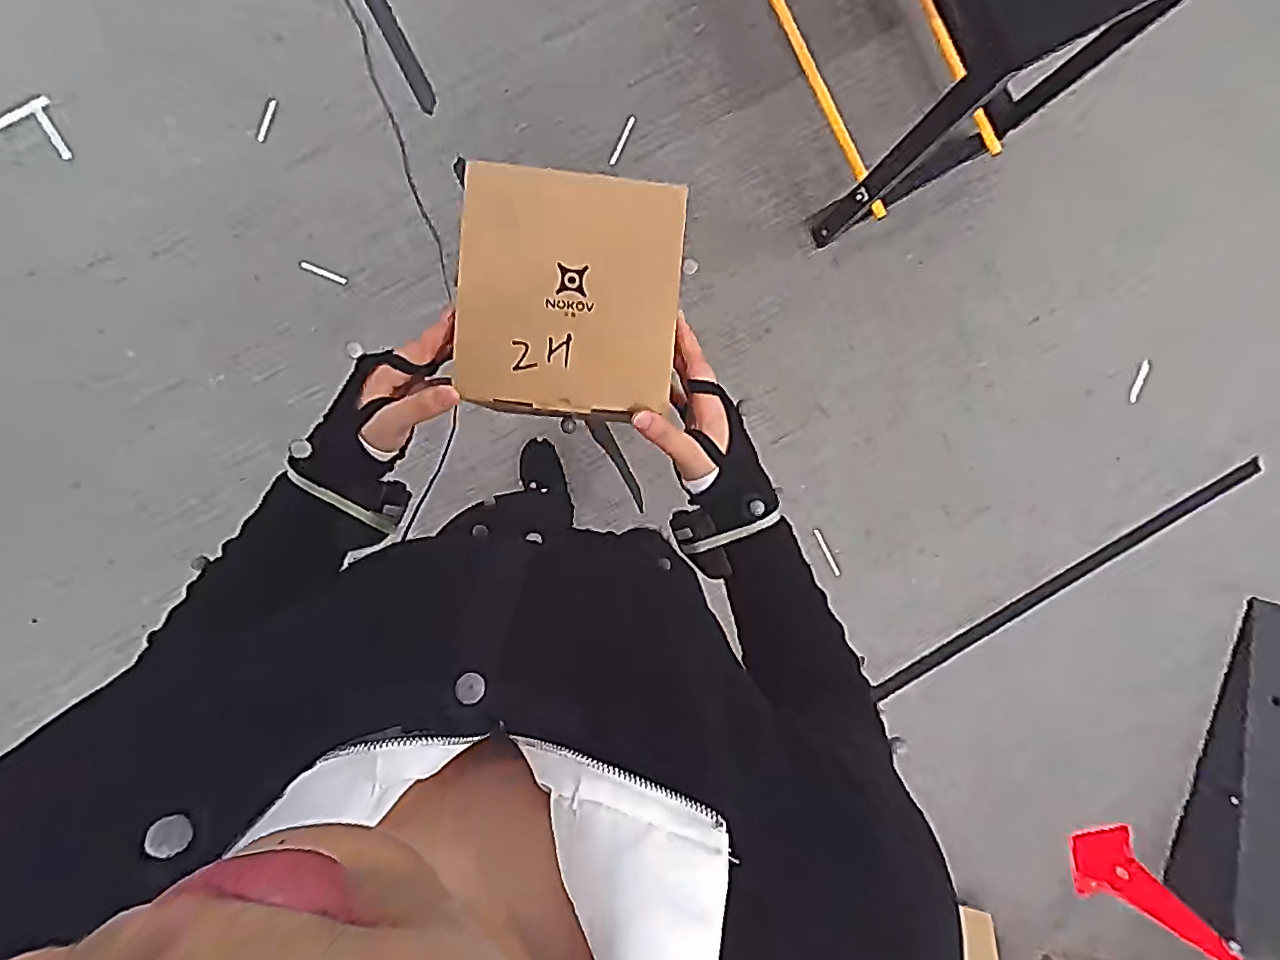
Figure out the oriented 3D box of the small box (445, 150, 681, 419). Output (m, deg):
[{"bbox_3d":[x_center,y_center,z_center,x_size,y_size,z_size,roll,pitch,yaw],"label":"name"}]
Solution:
[{"bbox_3d":[-0.062,-0.153,0.483,0.168,0.176,0.179,4,93,-3],"label":"small box"}]
